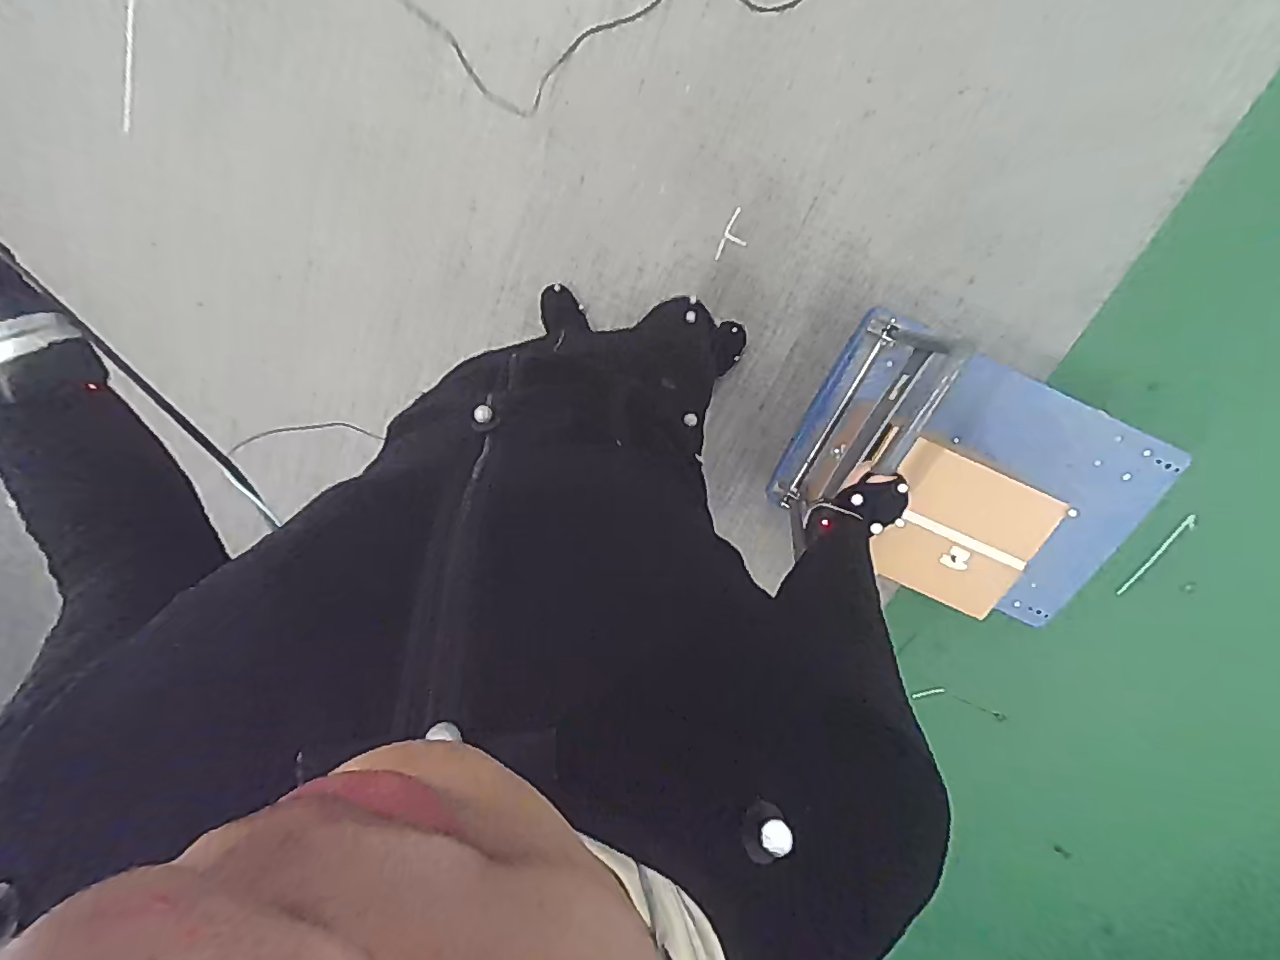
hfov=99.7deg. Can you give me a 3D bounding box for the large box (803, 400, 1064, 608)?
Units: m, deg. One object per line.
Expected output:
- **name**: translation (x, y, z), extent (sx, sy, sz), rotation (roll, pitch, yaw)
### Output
- **large box**: translation (0.668, 0.039, 1.317), extent (0.408, 0.320, 0.320), rotation (24, 111, -1)
